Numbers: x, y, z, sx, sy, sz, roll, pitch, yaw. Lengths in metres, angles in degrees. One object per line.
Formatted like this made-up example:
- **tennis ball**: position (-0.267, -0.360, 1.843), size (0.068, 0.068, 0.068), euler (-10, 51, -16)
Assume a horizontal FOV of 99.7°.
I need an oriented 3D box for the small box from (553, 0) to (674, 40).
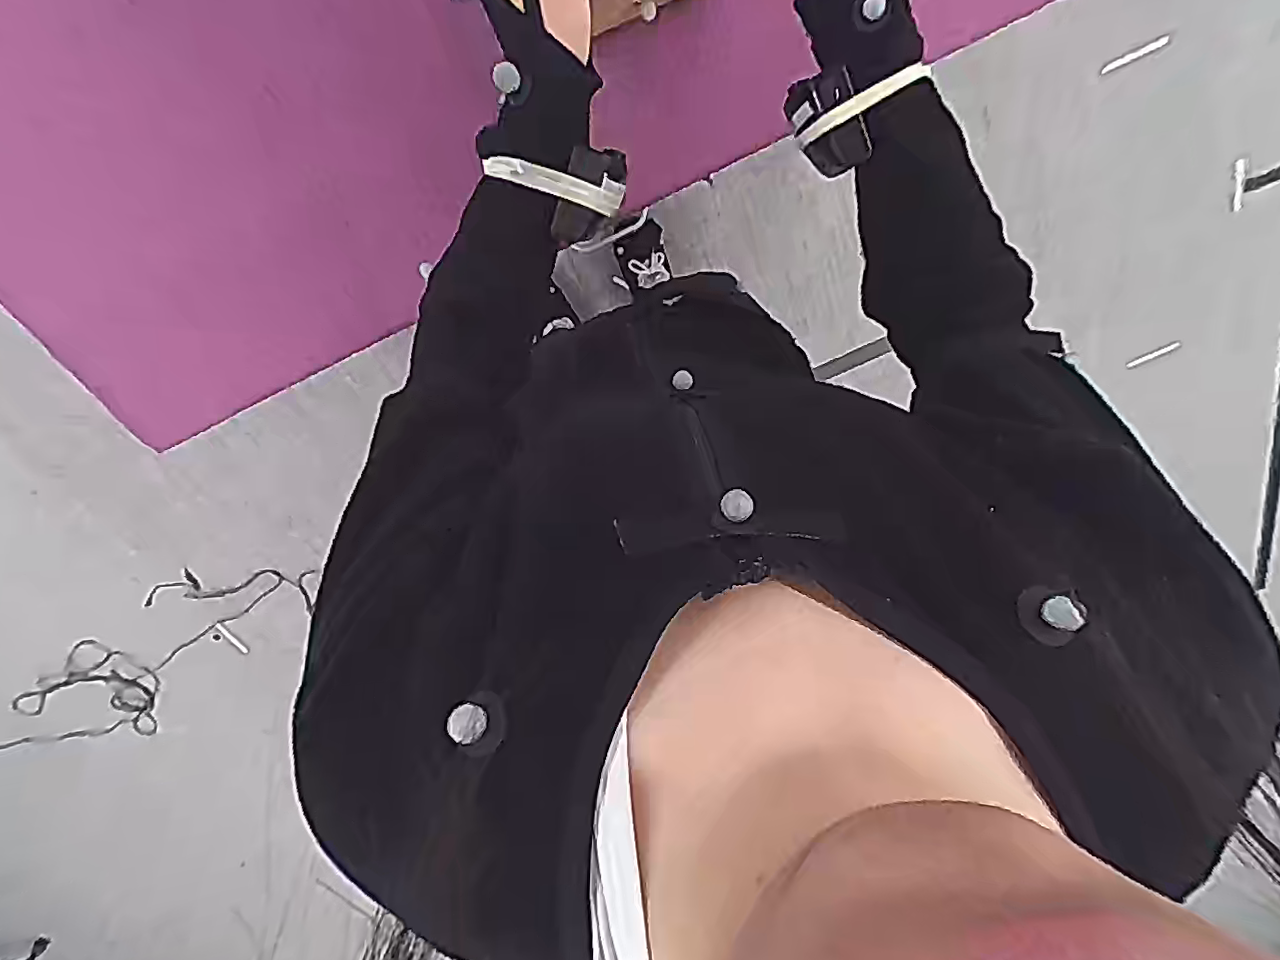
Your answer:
- **small box**: position (-0.020, -0.515, 0.444), size (0.168, 0.176, 0.179), euler (-21, 117, 4)
